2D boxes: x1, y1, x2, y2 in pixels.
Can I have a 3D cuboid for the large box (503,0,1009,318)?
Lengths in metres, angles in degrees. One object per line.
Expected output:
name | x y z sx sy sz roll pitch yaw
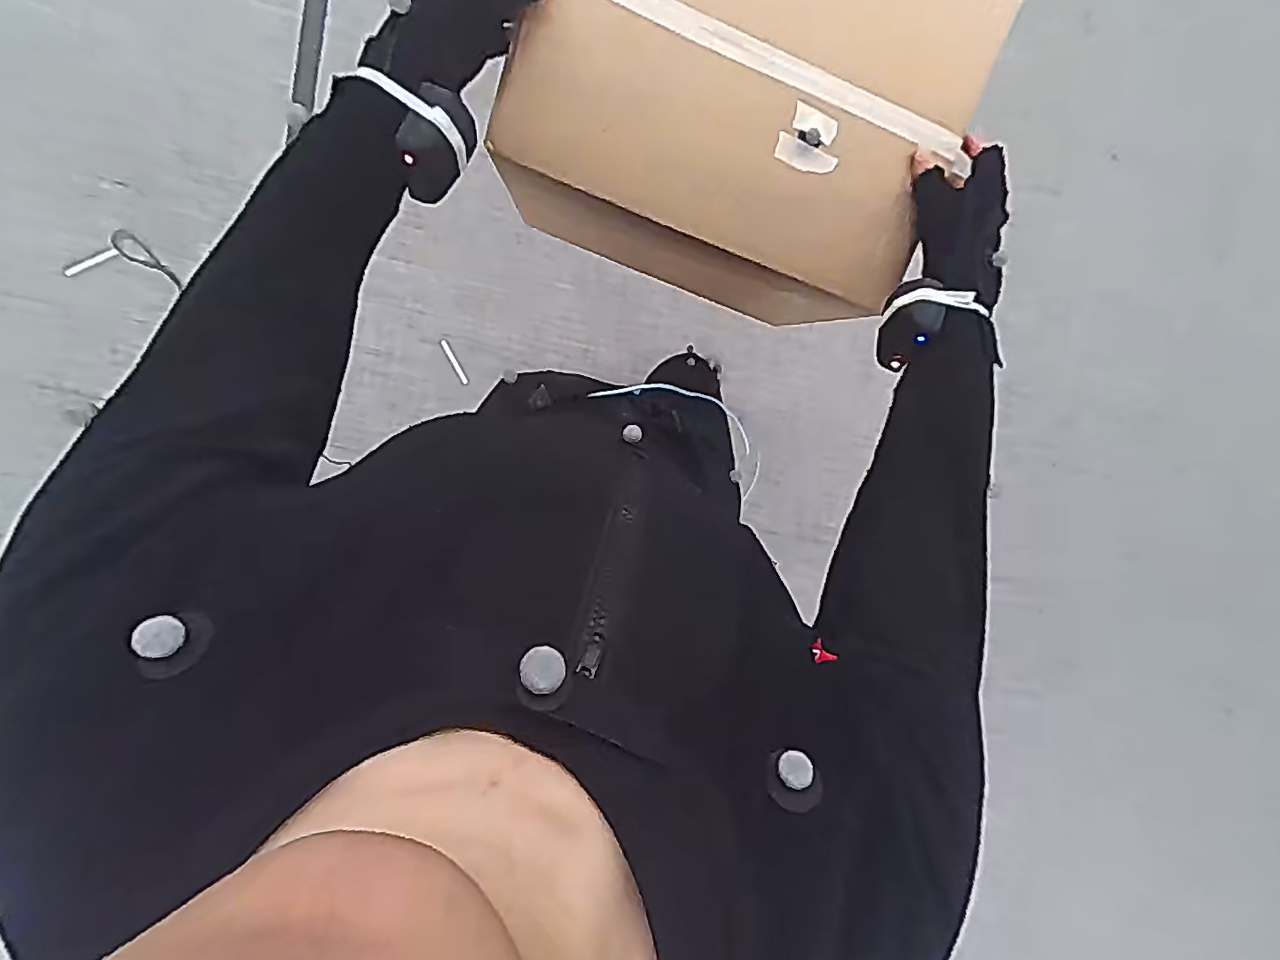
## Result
large box | 0.091 -0.410 0.632 0.408 0.320 0.320 18 103 -11
